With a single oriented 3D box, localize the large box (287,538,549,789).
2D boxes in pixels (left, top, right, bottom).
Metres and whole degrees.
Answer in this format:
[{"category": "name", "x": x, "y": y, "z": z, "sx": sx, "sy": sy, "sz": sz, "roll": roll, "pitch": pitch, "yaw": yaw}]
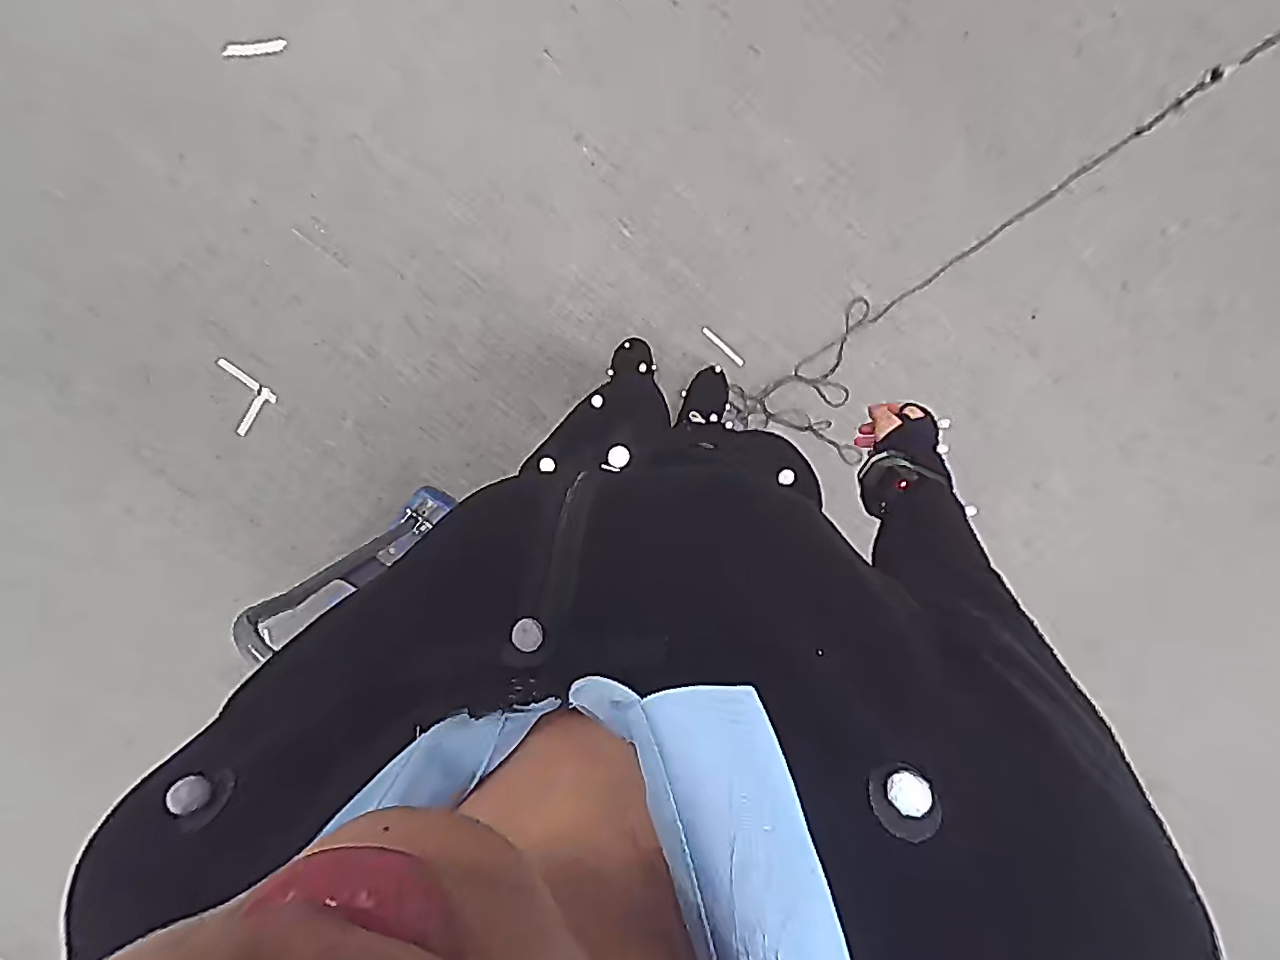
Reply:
[{"category": "large box", "x": -0.485, "y": 0.408, "z": 1.268, "sx": 0.408, "sy": 0.320, "sz": 0.320, "roll": 40, "pitch": 100, "yaw": -6}]
